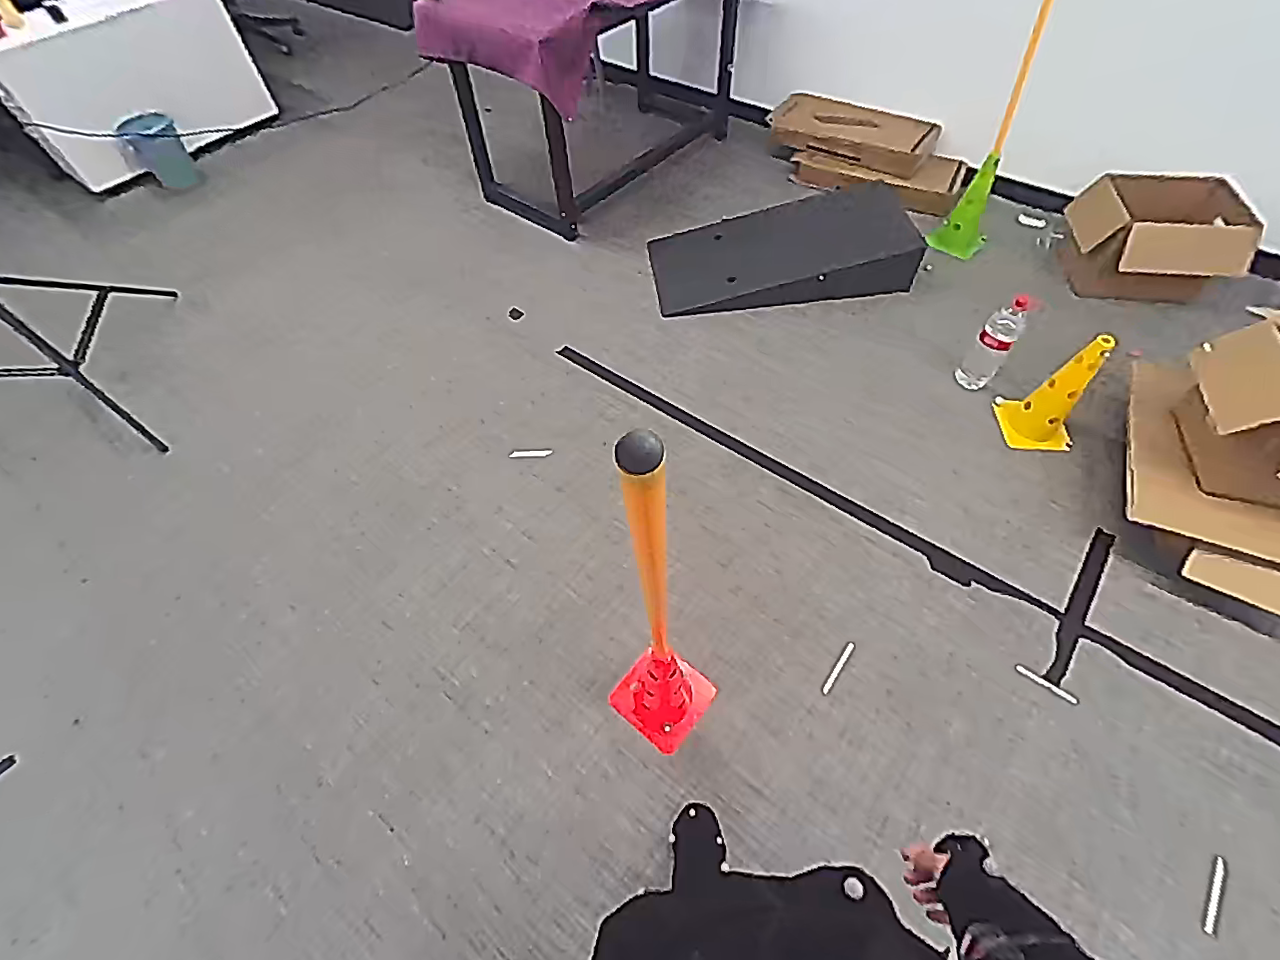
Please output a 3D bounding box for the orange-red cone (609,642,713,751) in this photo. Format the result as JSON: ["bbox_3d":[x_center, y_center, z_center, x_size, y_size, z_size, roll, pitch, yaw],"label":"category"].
[{"bbox_3d":[0.047,0.422,1.164,0.198,0.360,0.199,36,64,22],"label":"orange-red cone"}]
